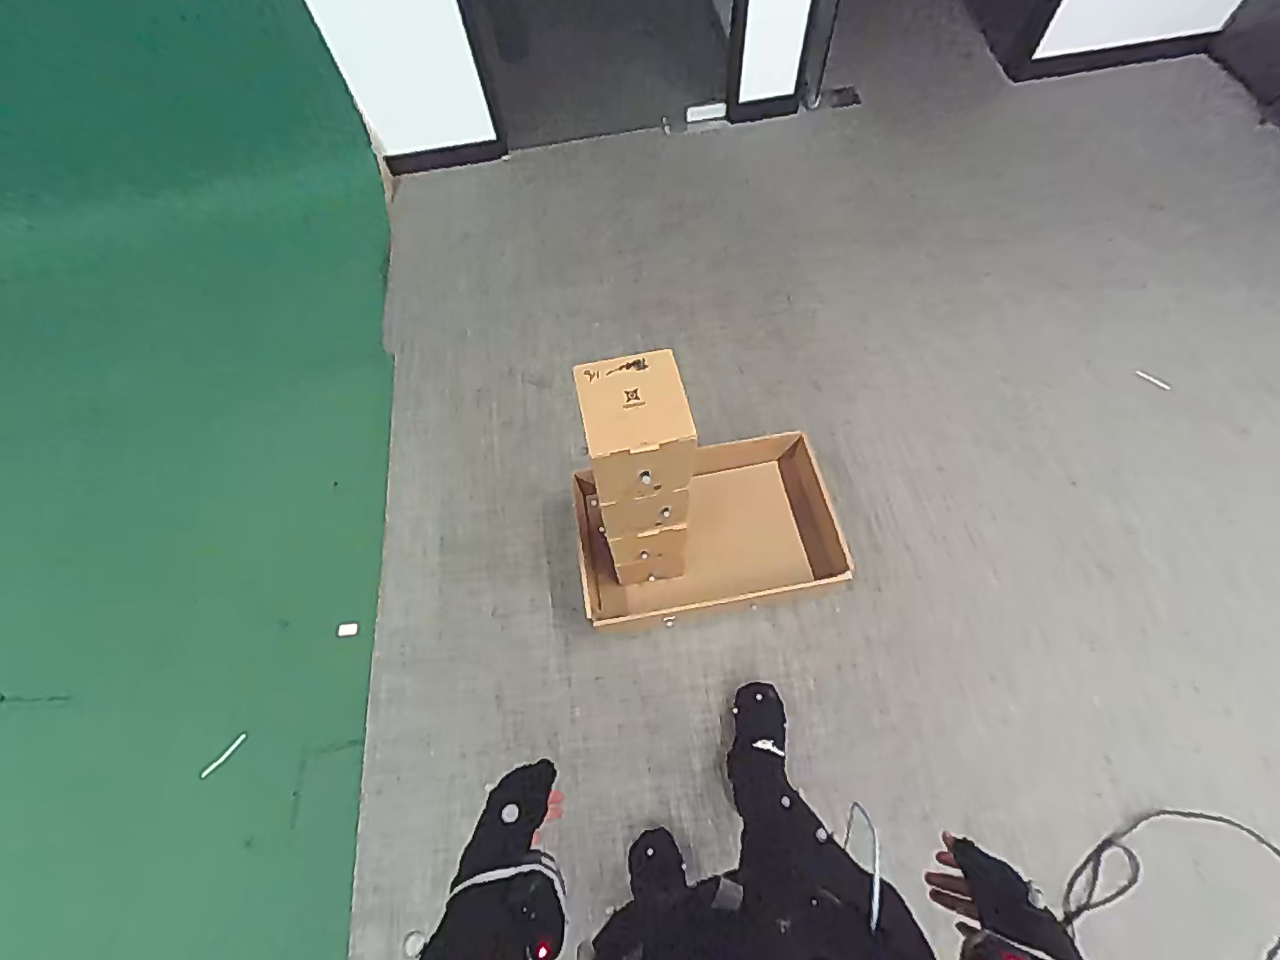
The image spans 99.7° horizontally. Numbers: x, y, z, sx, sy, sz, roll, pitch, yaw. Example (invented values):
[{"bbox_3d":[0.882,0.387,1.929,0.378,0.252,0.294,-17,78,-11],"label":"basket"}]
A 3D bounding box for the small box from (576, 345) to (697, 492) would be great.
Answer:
[{"bbox_3d":[-0.006,-0.092,0.900,0.168,0.176,0.179,-10,65,-4],"label":"small box"}]

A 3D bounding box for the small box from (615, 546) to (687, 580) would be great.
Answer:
[{"bbox_3d":[0.018,0.132,1.335,0.168,0.176,0.179,-9,64,-1],"label":"small box"}]

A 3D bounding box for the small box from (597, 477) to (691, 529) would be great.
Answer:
[{"bbox_3d":[0.000,-0.017,1.045,0.168,0.176,0.179,-11,64,-3],"label":"small box"}]

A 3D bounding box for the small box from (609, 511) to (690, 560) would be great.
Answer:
[{"bbox_3d":[0.010,0.059,1.189,0.168,0.176,0.179,-9,64,-2],"label":"small box"}]
